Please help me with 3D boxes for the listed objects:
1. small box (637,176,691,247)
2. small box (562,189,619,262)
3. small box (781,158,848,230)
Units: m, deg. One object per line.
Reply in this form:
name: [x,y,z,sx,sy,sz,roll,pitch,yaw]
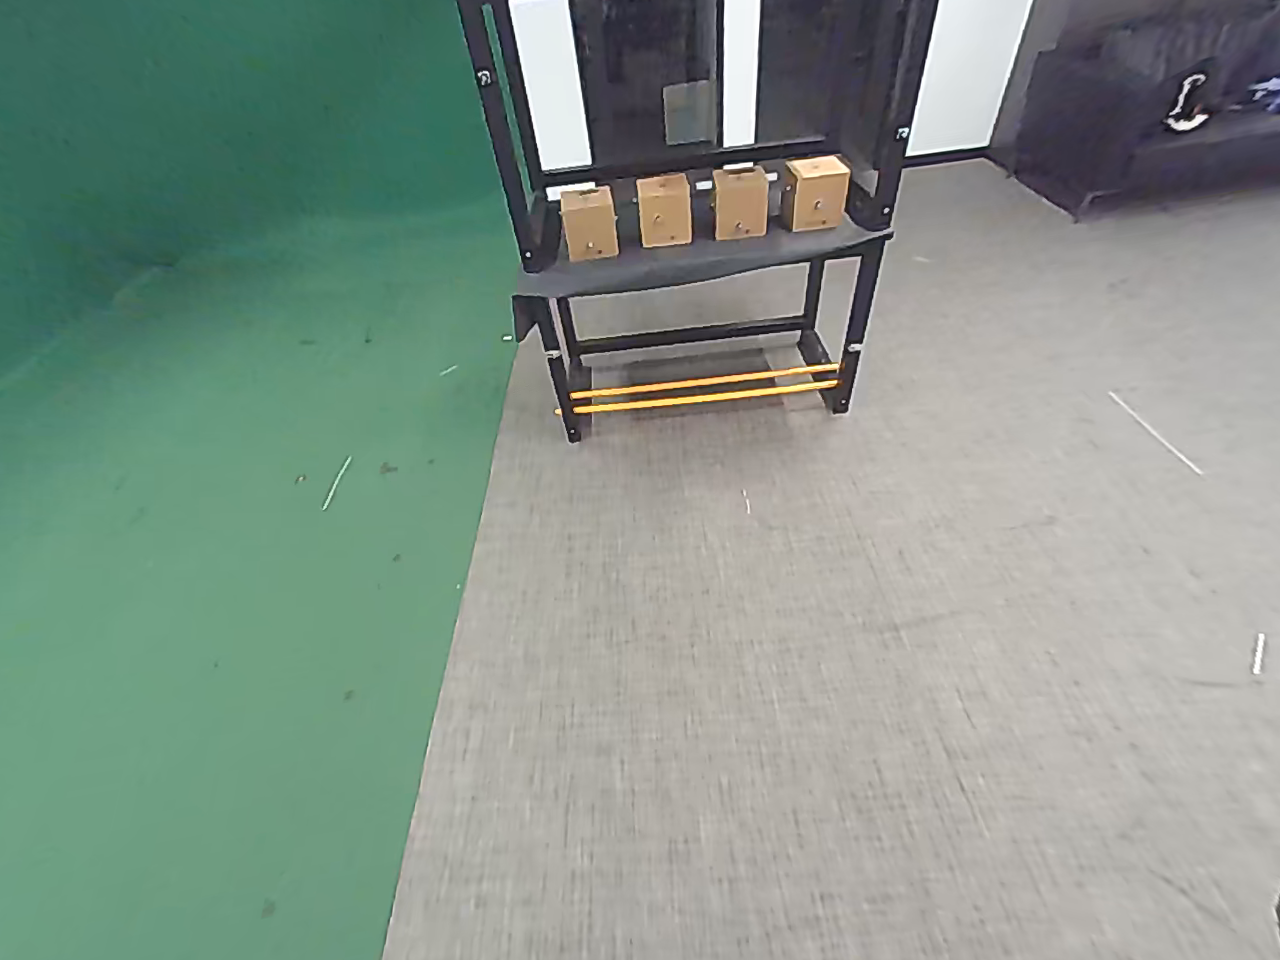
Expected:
small box: [0.083,-0.903,1.830,0.168,0.176,0.179,-5,45,2]
small box: [-0.166,-0.852,1.813,0.168,0.176,0.179,-9,46,-1]
small box: [0.573,-0.944,1.797,0.168,0.176,0.179,-6,44,2]
